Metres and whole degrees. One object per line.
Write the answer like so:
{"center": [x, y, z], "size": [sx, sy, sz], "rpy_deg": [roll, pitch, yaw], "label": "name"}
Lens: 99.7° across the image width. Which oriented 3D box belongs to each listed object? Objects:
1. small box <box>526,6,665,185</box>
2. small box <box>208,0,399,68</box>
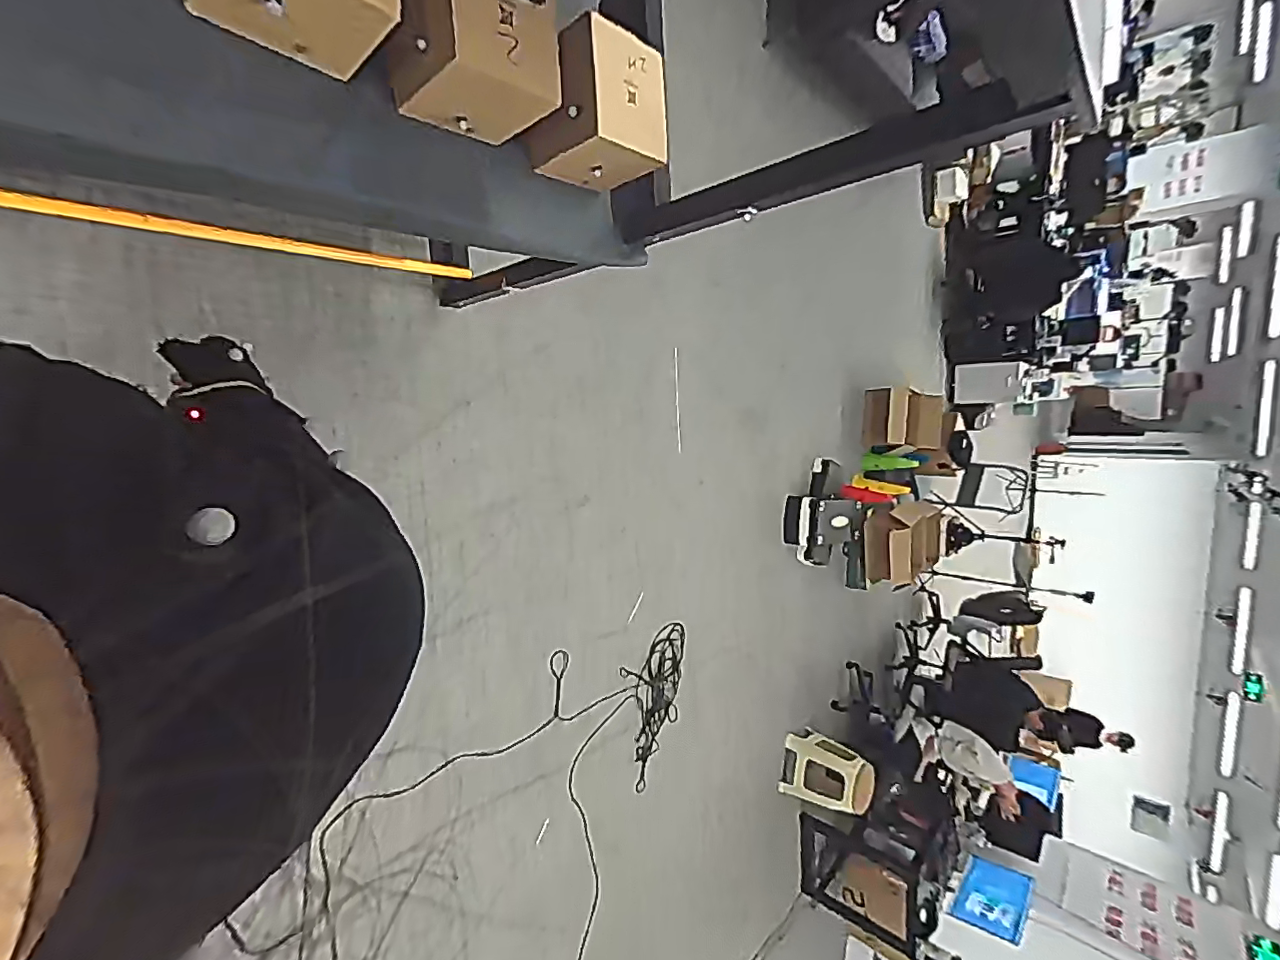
{"center": [-0.076, -0.629, 0.917], "size": [0.168, 0.176, 0.179], "rpy_deg": [-13, 103, -47], "label": "small box"}
{"center": [-0.380, -0.604, 0.589], "size": [0.168, 0.176, 0.179], "rpy_deg": [-5, 98, -48], "label": "small box"}
